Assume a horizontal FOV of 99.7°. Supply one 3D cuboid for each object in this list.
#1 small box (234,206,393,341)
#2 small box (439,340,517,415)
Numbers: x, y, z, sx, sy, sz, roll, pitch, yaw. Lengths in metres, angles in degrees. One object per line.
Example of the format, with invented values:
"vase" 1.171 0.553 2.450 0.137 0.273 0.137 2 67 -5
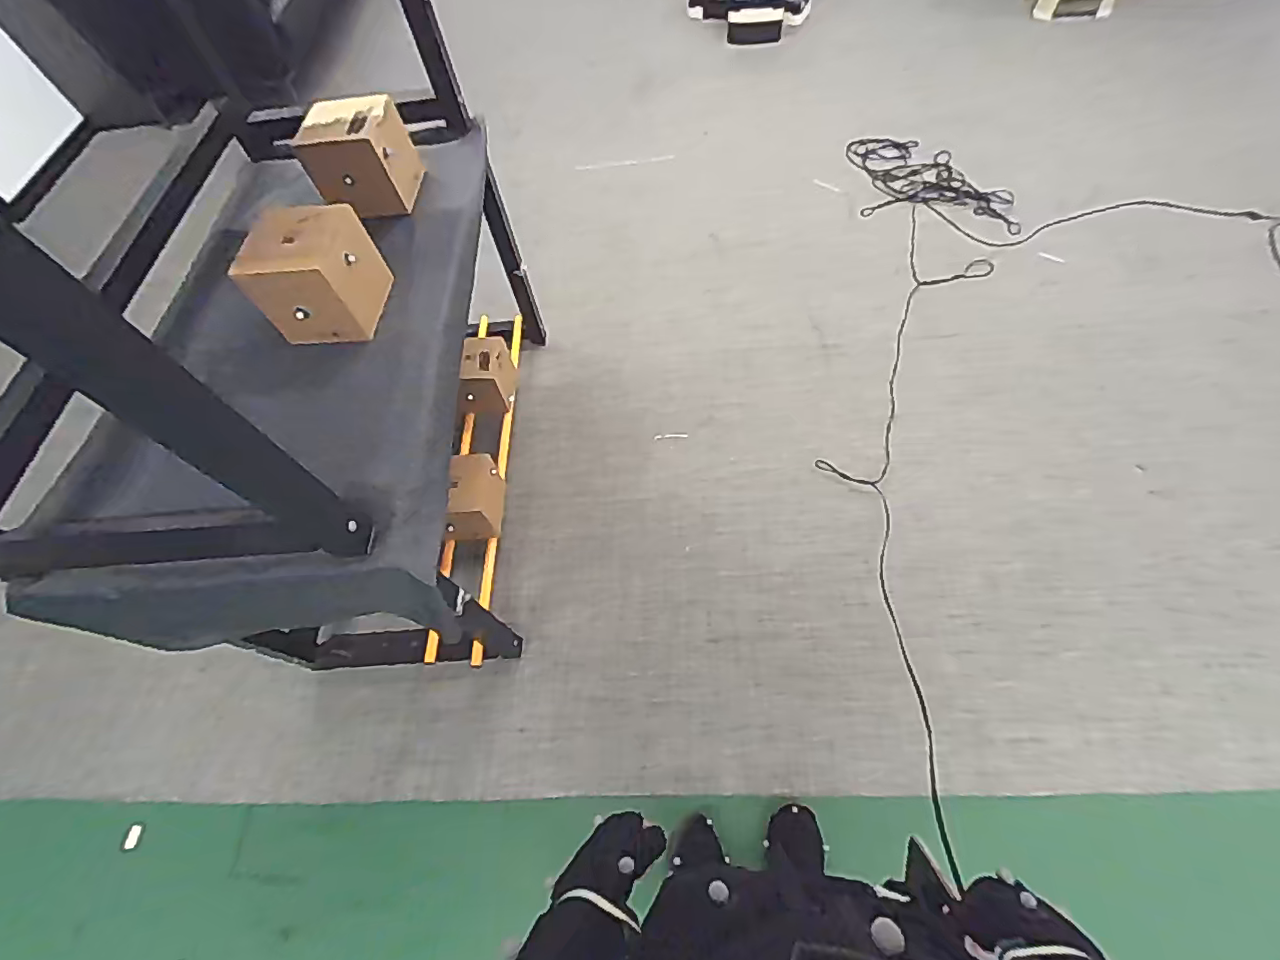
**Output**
"small box" -0.588 -0.373 1.003 0.168 0.176 0.179 -1 60 5
"small box" -0.495 -0.315 1.681 0.179 0.176 0.168 -1 60 5
